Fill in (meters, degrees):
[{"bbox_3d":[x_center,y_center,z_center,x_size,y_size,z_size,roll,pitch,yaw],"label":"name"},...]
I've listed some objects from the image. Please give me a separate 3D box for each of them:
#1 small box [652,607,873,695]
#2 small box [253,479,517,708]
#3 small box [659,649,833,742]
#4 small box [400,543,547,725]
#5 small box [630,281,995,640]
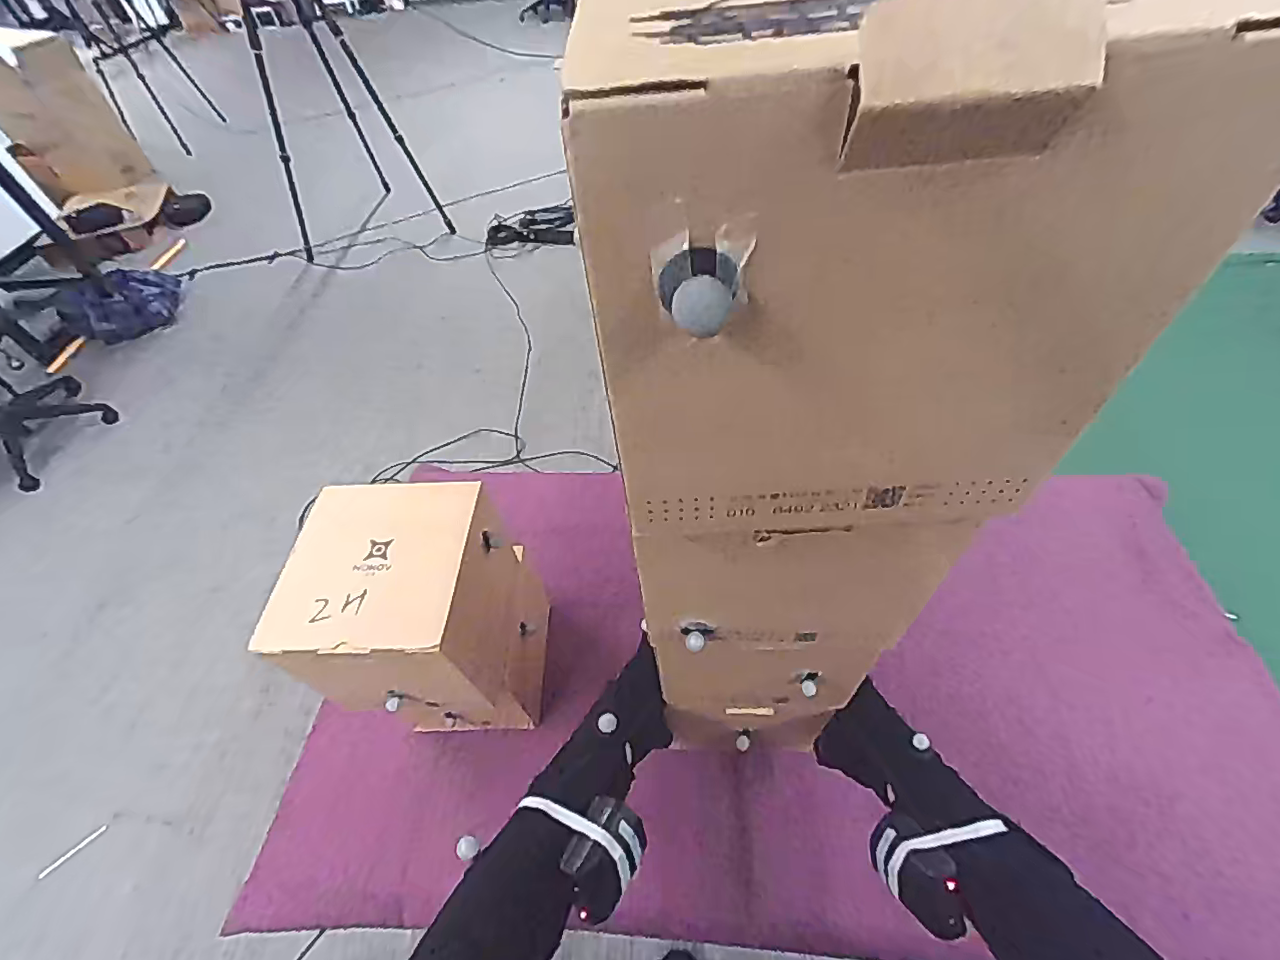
[{"bbox_3d":[0.101,0.080,0.477,0.168,0.176,0.179,-2,51,5],"label":"small box"},{"bbox_3d":[-0.231,0.117,0.551,0.168,0.176,0.179,-2,53,4],"label":"small box"},{"bbox_3d":[0.109,0.192,0.620,0.168,0.176,0.179,-5,51,4],"label":"small box"},{"bbox_3d":[-0.219,0.200,0.695,0.168,0.176,0.179,-3,52,2],"label":"small box"},{"bbox_3d":[0.088,-0.006,0.358,0.168,0.176,0.179,-1,51,5],"label":"small box"}]
